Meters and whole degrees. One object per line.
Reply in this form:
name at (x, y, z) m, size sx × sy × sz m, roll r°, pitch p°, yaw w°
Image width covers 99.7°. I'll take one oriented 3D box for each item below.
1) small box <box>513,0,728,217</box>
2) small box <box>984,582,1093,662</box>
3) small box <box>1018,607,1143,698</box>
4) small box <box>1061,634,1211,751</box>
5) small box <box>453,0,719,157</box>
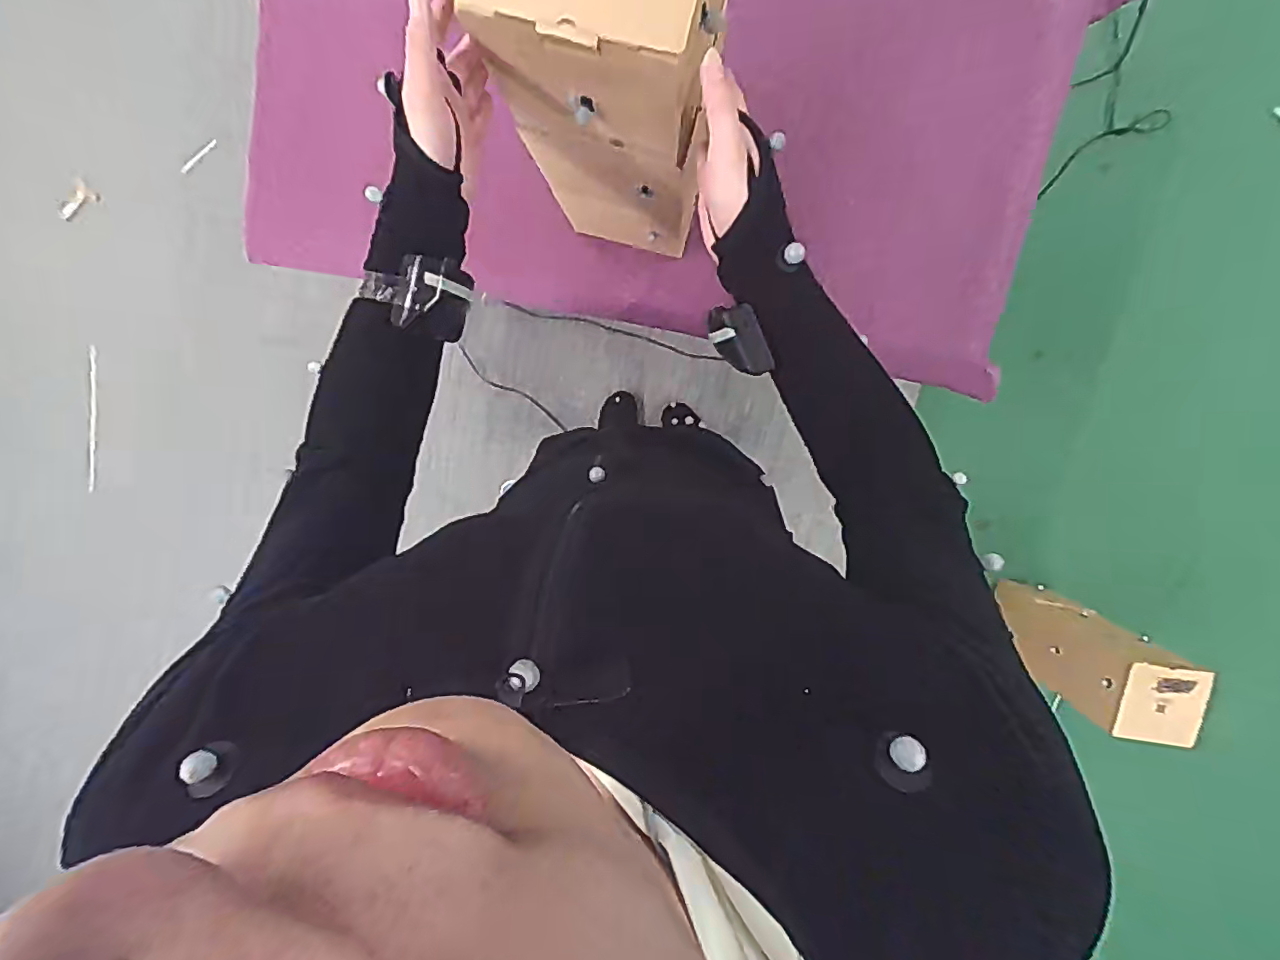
small box at (-0.017, -0.414, 0.597) m, size 0.179 × 0.176 × 0.168 m, roll 16°, pitch 99°, yaw 2°
small box at (1.116, 0.412, 1.532) m, size 0.168 × 0.176 × 0.179 m, roll 12°, pitch 99°, yaw 2°
small box at (1.104, 0.444, 1.373) m, size 0.168 × 0.176 × 0.179 m, roll 10°, pitch 97°, yaw 3°
small box at (1.094, 0.465, 1.210) m, size 0.168 × 0.176 × 0.179 m, roll 8°, pitch 99°, yaw 4°
small box at (-0.025, -0.397, 0.435) m, size 0.168 × 0.176 × 0.179 m, roll 15°, pitch 99°, yaw 1°
